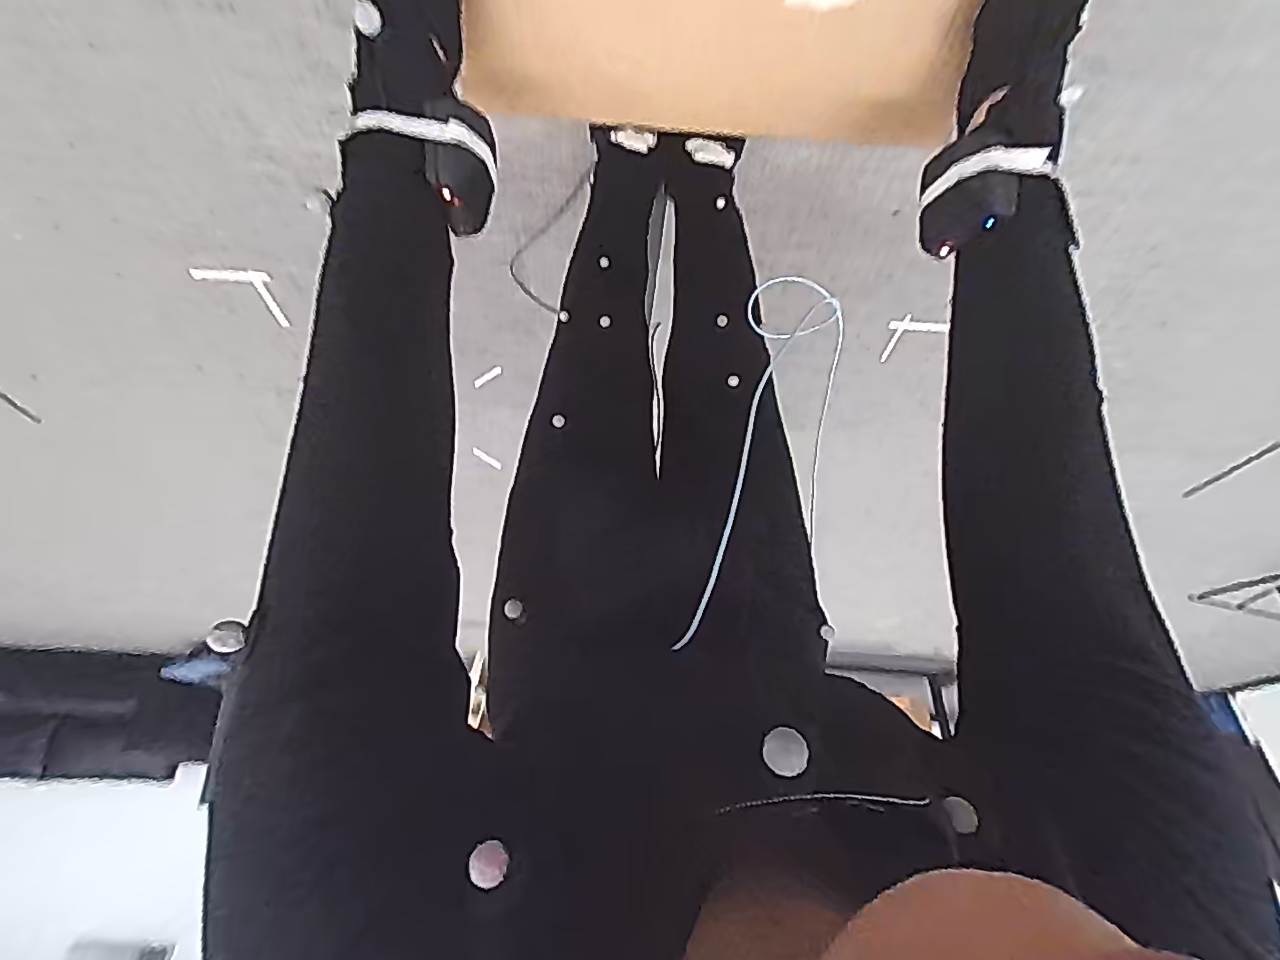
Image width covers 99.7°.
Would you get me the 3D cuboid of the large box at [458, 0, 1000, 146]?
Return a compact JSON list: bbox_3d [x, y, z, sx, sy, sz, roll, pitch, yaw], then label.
[{"bbox_3d":[0.068,-0.507,0.433,0.408,0.320,0.320,3,143,-3],"label":"large box"}]
